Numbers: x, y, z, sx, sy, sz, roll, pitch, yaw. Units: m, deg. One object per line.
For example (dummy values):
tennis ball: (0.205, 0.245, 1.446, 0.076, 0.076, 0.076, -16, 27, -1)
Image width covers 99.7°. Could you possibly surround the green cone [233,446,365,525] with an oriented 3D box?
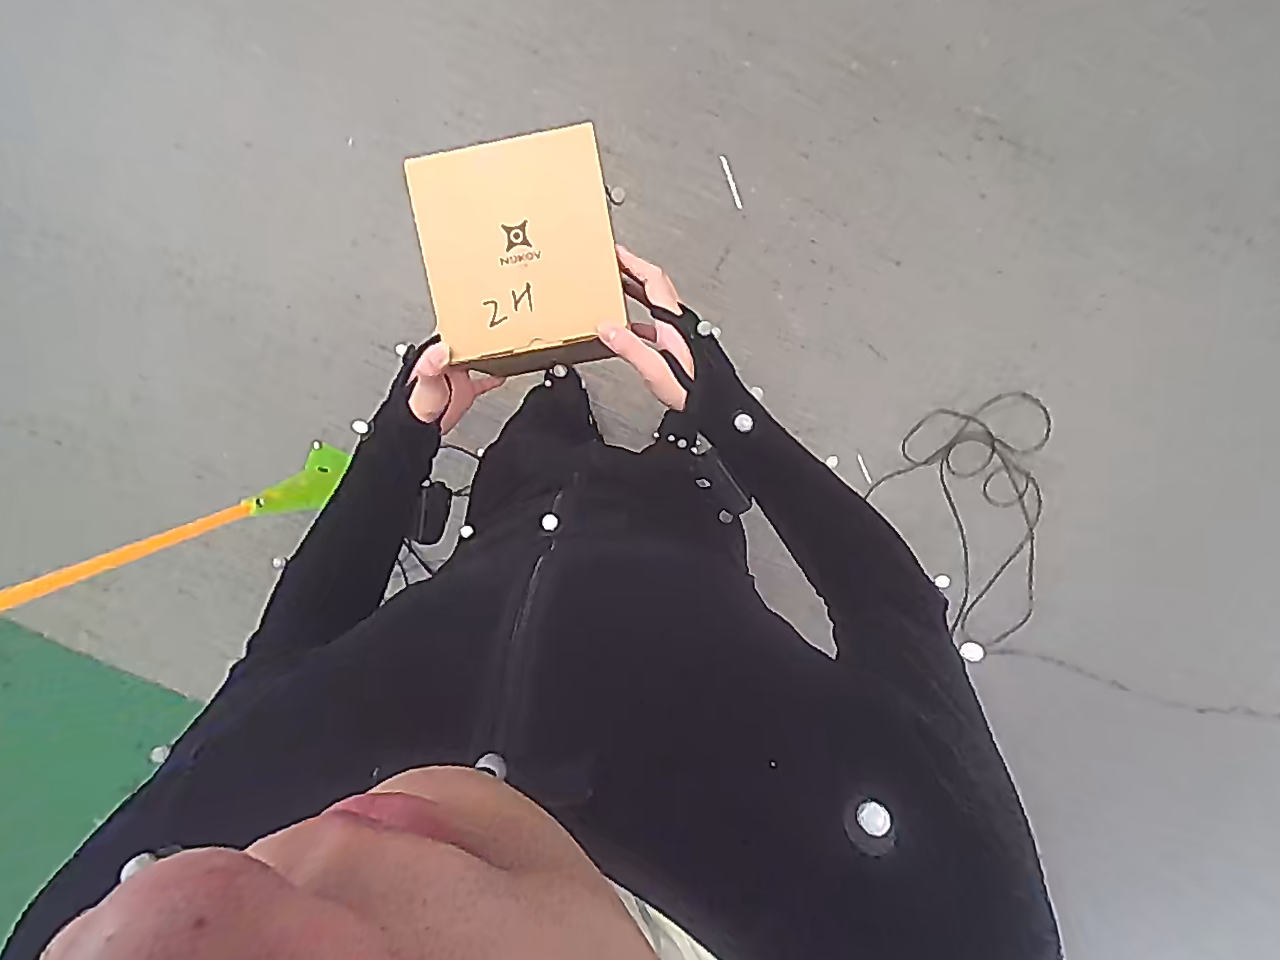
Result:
green cone: (-0.960, 0.052, 1.472, 0.202, 0.368, 0.200, 26, 102, -3)
